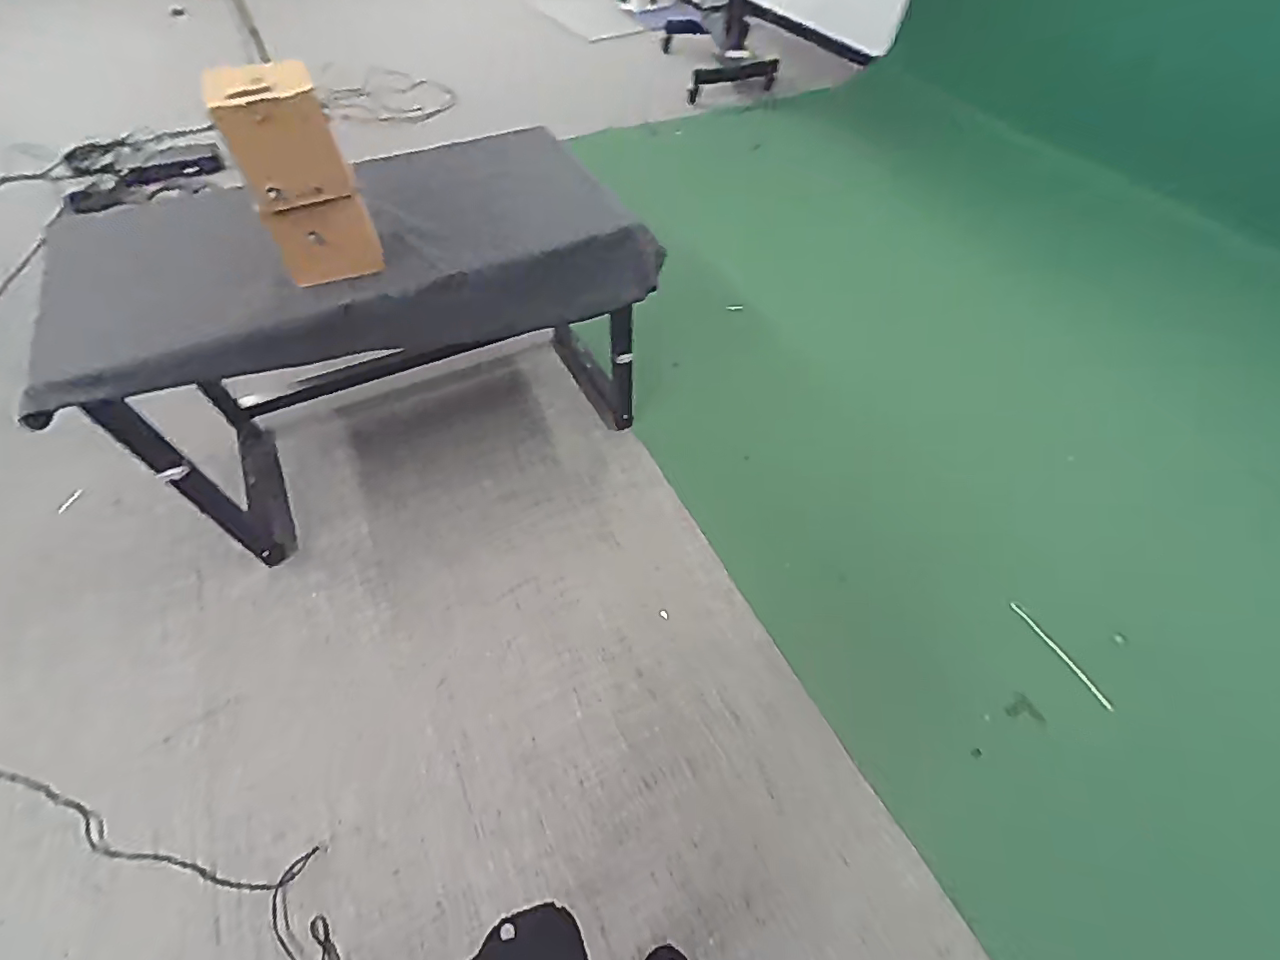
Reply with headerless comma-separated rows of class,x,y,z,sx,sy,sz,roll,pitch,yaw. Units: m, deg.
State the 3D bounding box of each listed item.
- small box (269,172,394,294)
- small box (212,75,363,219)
small box,-0.645,-0.516,1.137,0.179,0.176,0.168,-20,54,-16
small box,-0.639,-0.605,0.995,0.168,0.176,0.179,-25,58,-18
